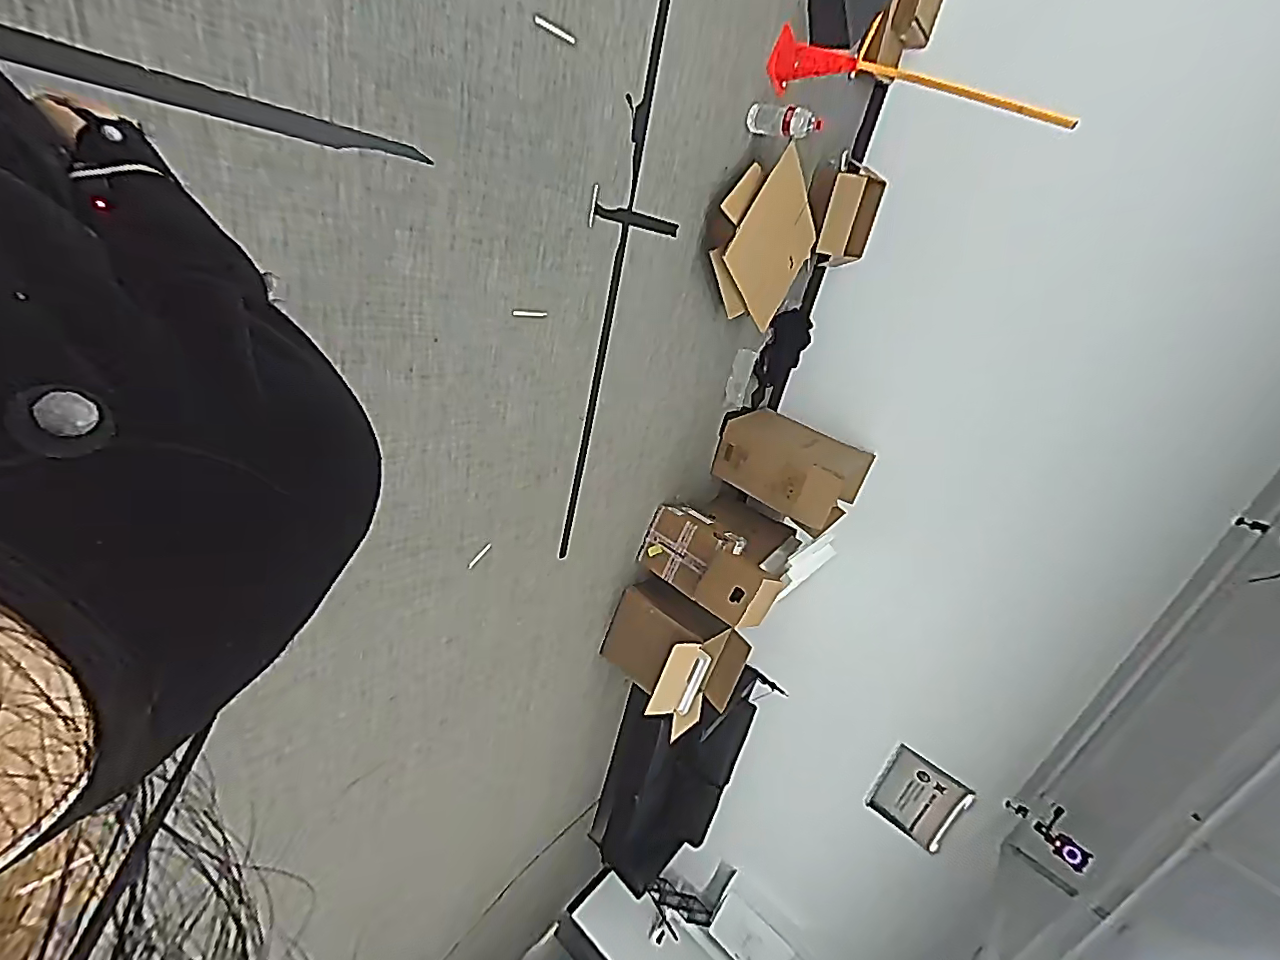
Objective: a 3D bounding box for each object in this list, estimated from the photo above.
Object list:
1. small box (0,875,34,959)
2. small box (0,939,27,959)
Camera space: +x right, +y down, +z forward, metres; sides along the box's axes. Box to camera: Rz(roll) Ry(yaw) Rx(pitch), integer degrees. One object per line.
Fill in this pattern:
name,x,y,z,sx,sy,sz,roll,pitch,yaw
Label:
small box,-1.314,0.916,1.032,0.179,0.176,0.168,-19,129,-48
small box,-1.187,0.976,0.950,0.168,0.176,0.179,-19,129,-49
